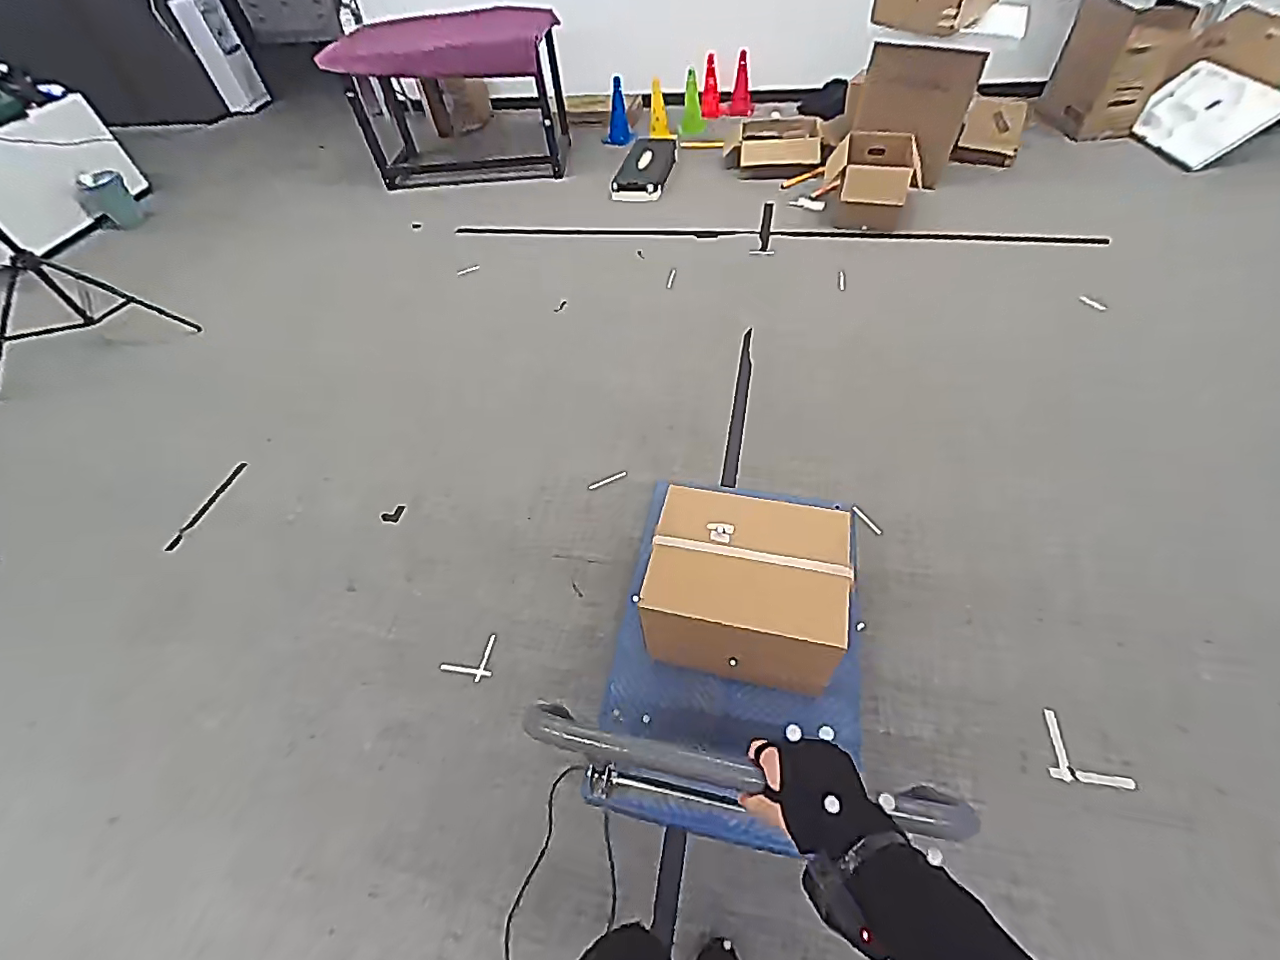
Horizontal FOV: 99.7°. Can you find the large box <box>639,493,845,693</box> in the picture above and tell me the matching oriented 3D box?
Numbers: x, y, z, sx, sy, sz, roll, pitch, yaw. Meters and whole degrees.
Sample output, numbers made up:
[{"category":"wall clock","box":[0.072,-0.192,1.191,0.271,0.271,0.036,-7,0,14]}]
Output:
[{"category":"large box","box":[0.240,0.263,1.258,0.408,0.320,0.320,8,52,13]}]
